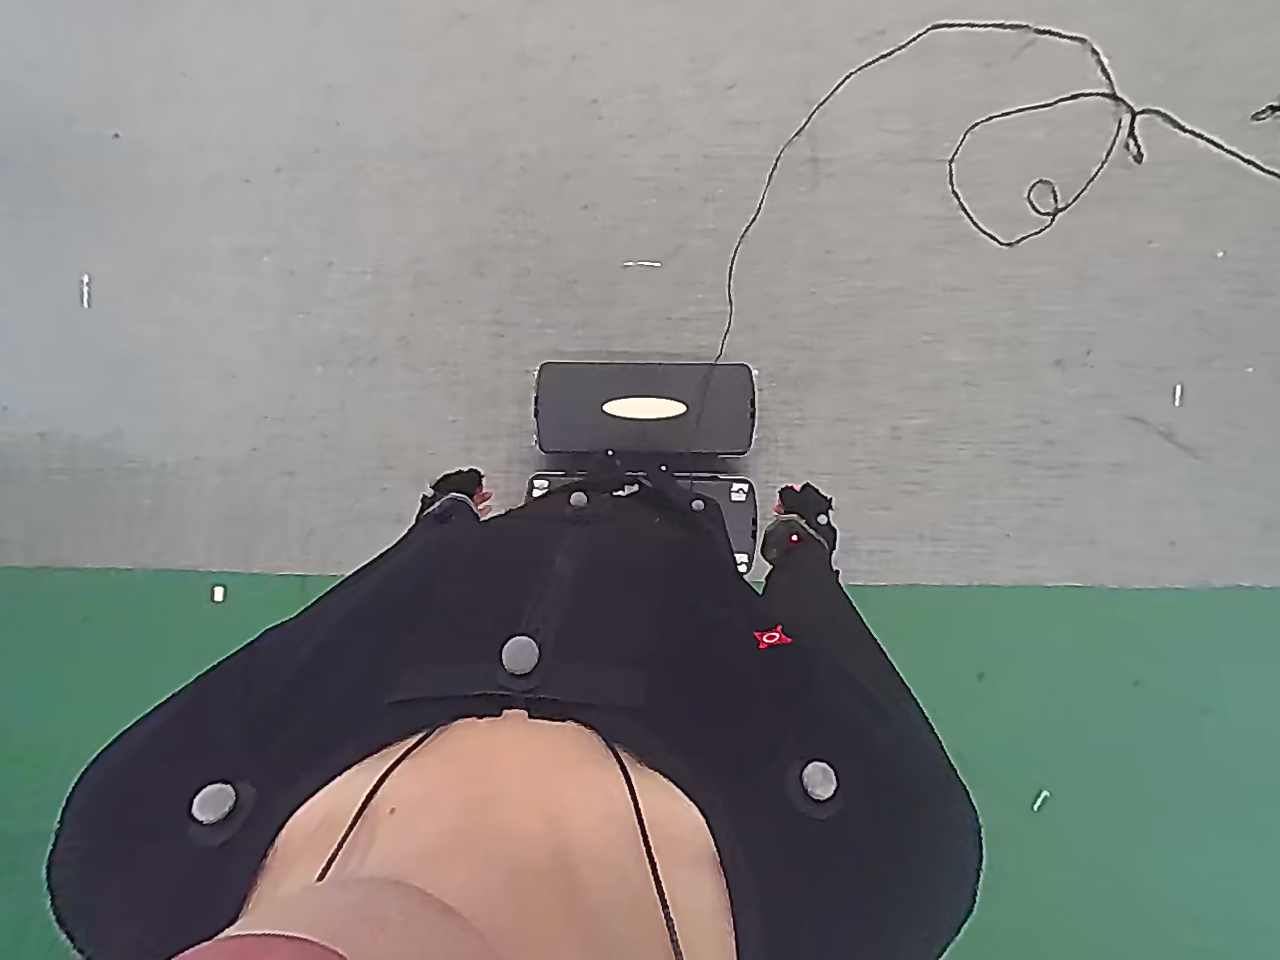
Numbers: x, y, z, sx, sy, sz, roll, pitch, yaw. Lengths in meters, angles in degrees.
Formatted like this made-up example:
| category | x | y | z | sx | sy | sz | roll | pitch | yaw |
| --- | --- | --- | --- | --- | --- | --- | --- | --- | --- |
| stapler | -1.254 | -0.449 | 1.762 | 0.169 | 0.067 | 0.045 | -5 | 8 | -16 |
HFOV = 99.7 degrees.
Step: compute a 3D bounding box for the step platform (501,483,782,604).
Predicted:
| category | x | y | z | sx | sy | sz | roll | pitch | yaw |
| --- | --- | --- | --- | --- | --- | --- | --- | --- | --- |
| step platform | 0.004 | 0.155 | 1.398 | 0.684 | 0.204 | 0.286 | 1 | 91 | -1 |
